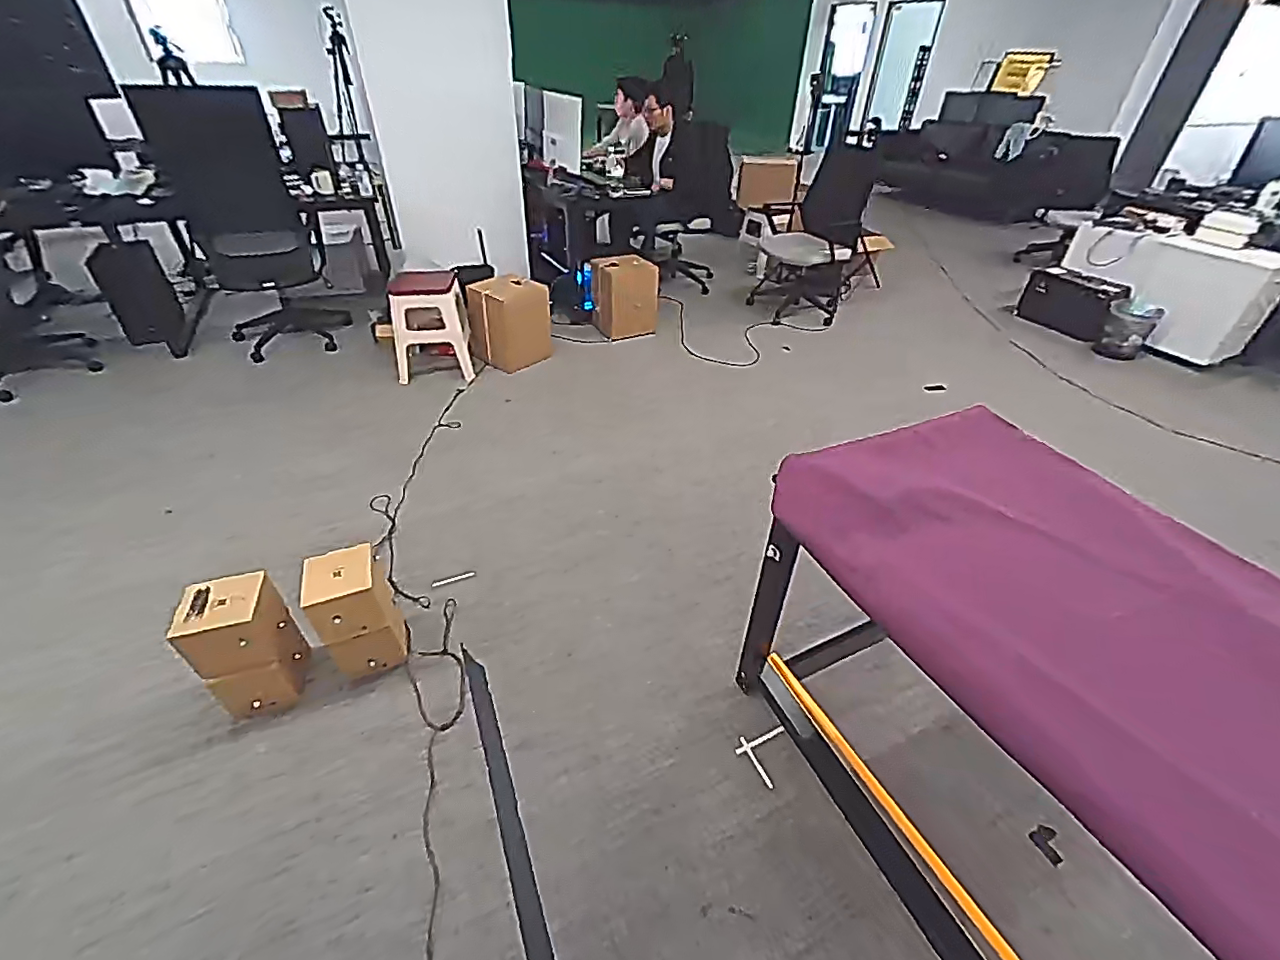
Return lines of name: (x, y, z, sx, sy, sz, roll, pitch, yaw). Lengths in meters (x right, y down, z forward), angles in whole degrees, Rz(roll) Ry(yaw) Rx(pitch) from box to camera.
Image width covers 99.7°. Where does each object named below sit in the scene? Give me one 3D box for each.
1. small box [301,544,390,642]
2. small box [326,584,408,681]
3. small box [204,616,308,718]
small box: (-0.774, 0.305, 1.435, 0.168, 0.176, 0.179, -15, 40, -18)
small box: (-0.773, 0.432, 1.537, 0.168, 0.176, 0.179, -15, 41, -17)
small box: (-1.013, 0.499, 1.446, 0.168, 0.176, 0.179, -10, 41, -14)
